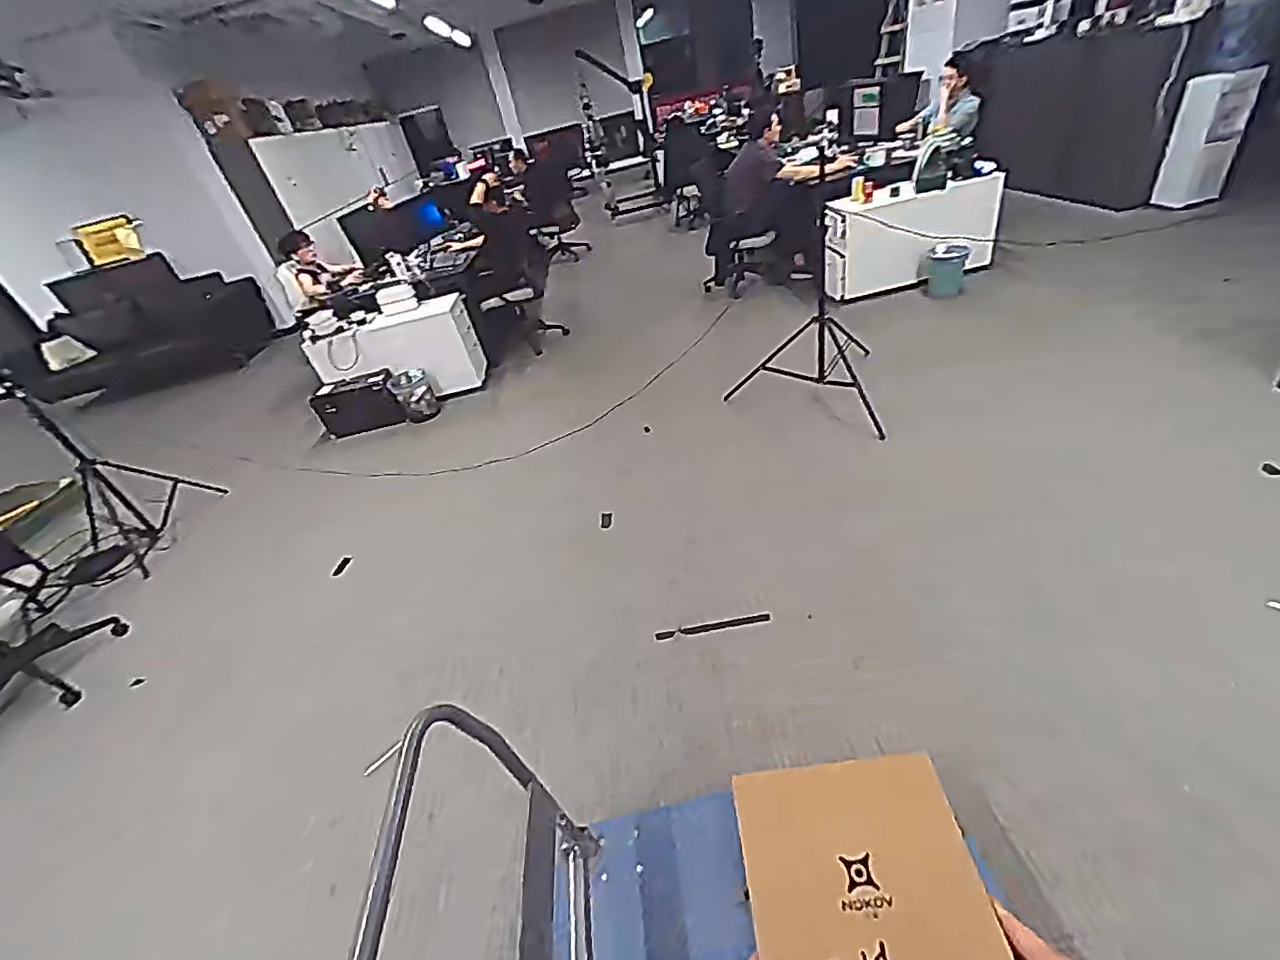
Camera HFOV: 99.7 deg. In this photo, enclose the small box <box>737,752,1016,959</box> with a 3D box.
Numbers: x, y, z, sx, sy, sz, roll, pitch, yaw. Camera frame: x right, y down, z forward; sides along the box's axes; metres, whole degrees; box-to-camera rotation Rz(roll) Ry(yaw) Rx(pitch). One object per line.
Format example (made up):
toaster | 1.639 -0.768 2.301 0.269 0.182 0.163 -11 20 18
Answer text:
small box | 0.178 0.353 0.440 0.168 0.176 0.179 -11 39 8
